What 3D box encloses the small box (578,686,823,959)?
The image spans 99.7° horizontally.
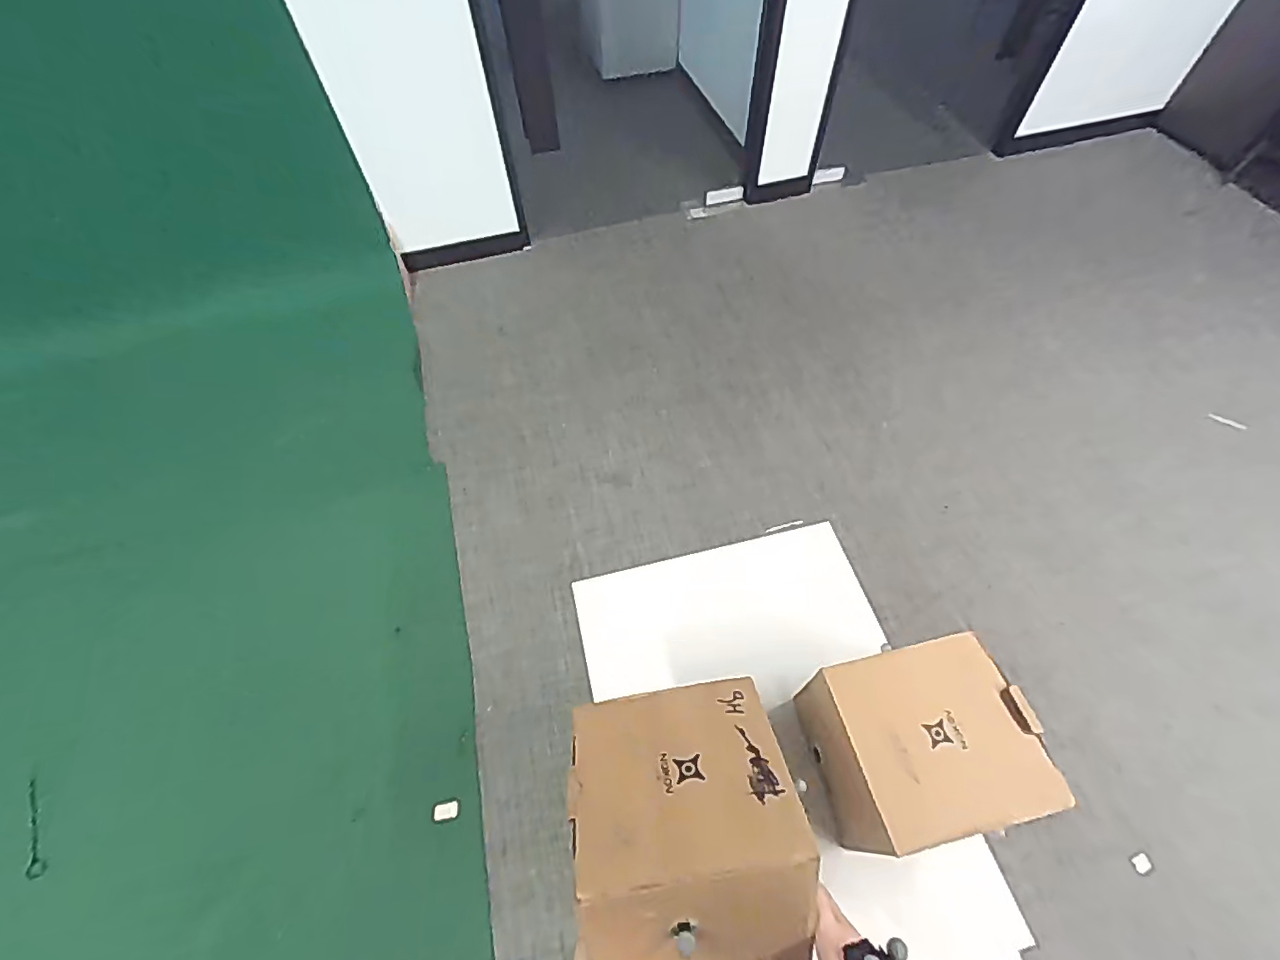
[{"bbox_3d":[0.047,0.317,0.475,0.179,0.176,0.168,-10,27,-3],"label":"small box"}]

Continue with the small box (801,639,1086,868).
[{"bbox_3d":[0.295,0.288,0.575,0.179,0.176,0.168,-13,57,-4],"label":"small box"}]
